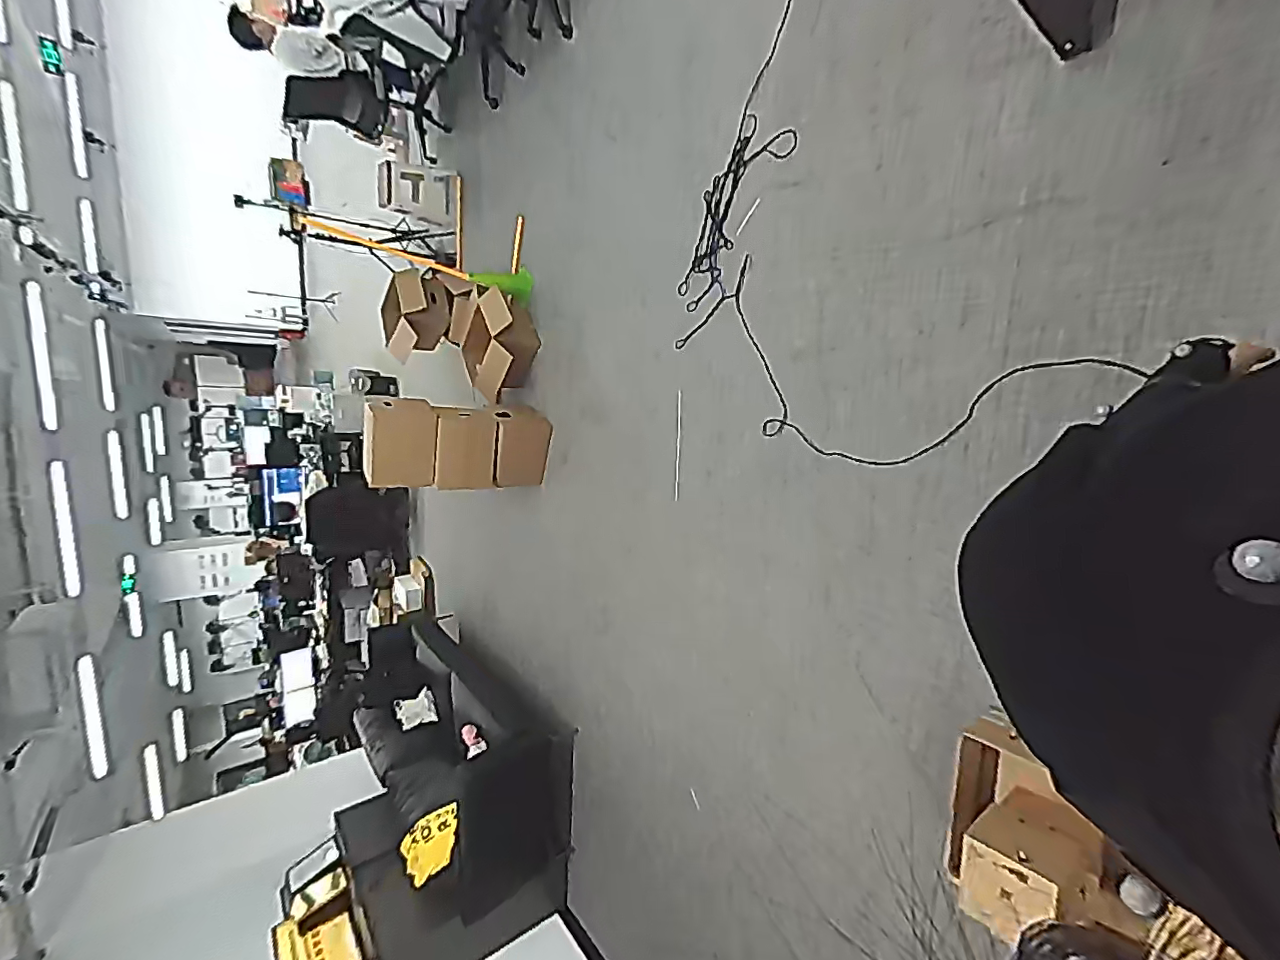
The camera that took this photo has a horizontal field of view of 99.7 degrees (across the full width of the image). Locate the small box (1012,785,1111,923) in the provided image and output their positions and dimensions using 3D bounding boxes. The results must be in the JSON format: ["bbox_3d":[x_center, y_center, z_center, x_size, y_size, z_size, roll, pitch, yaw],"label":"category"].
[{"bbox_3d":[0.946,0.835,1.232,0.179,0.176,0.168,2,95,52],"label":"small box"}]

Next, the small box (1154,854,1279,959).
[{"bbox_3d":[1.110,0.858,1.018,0.179,0.176,0.168,6,97,54],"label":"small box"}]

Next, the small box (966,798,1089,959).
[{"bbox_3d":[0.813,0.821,1.135,0.168,0.176,0.179,9,101,51],"label":"small box"}]
